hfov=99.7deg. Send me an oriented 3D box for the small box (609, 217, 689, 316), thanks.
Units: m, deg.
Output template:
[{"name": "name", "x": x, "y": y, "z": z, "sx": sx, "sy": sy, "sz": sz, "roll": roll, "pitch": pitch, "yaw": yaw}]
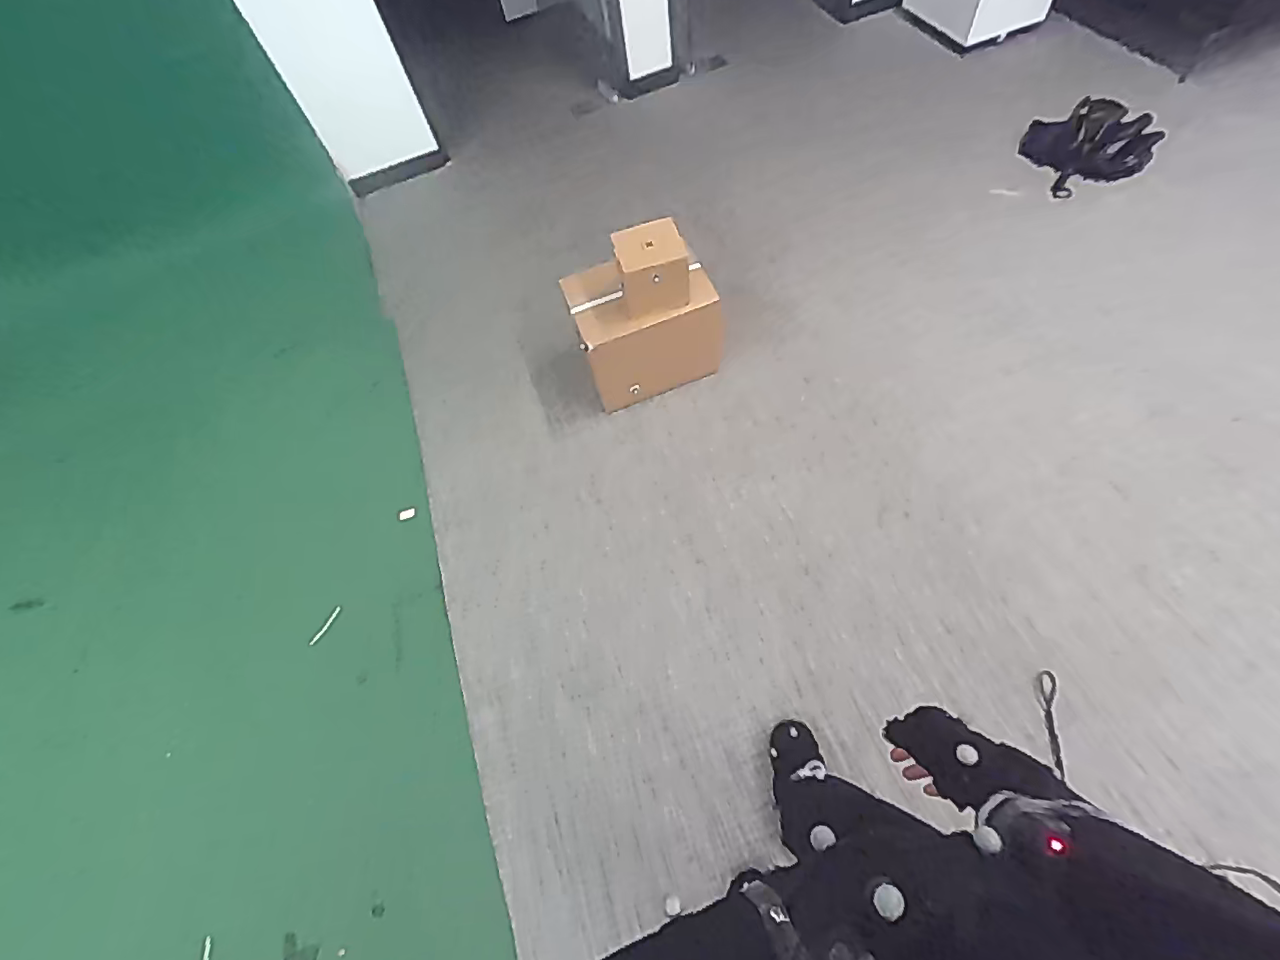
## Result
[{"name": "small box", "x": 0.028, "y": -0.576, "z": 1.478, "sx": 0.179, "sy": 0.176, "sz": 0.168, "roll": -16, "pitch": 63, "yaw": -2}]
